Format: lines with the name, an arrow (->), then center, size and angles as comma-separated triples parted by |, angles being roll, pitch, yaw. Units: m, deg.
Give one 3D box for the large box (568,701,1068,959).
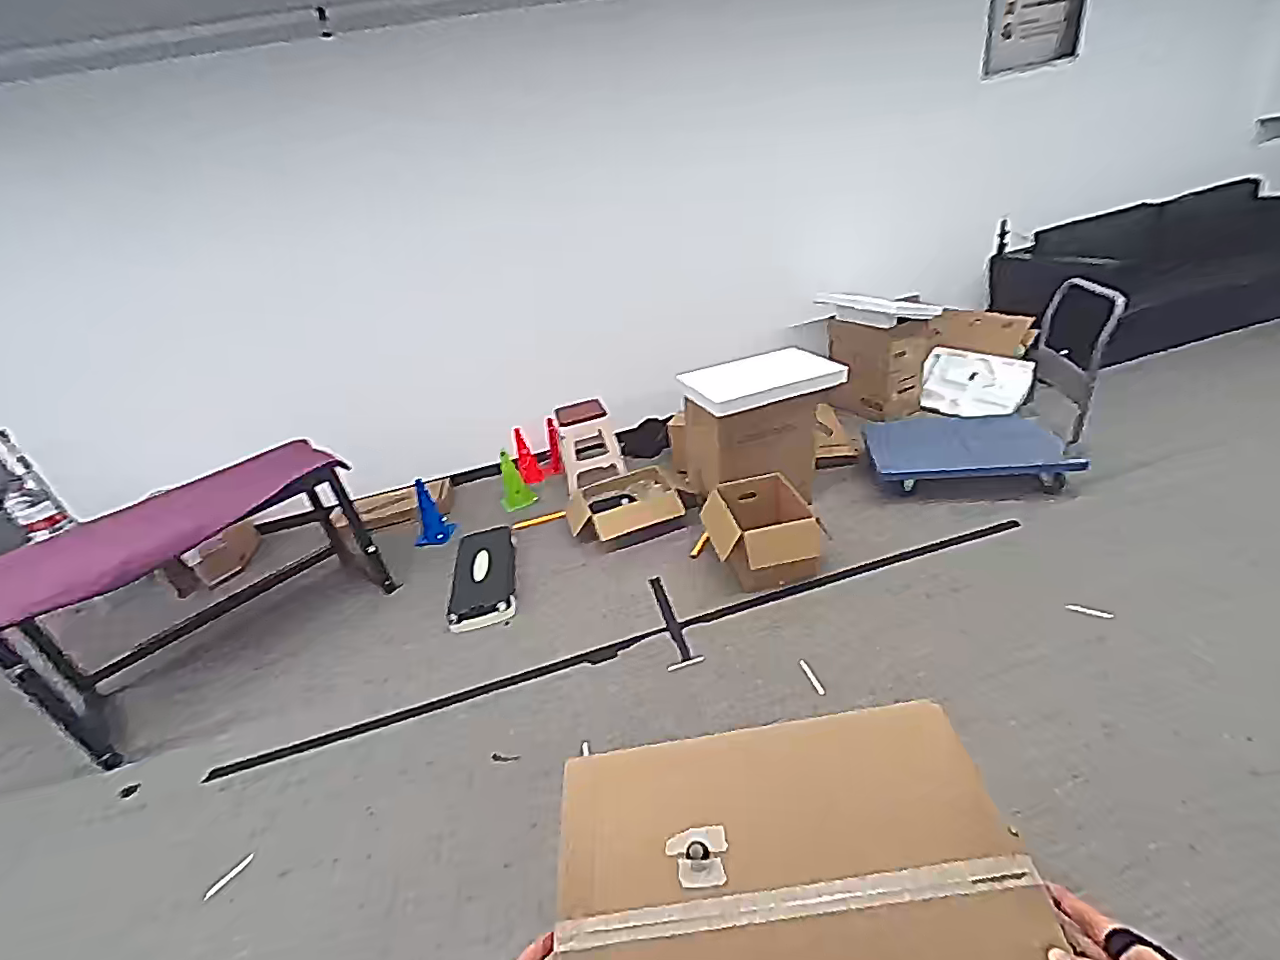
large box -> 0.164, 0.484, 0.561 | 0.408, 0.320, 0.320 | -13, 35, 6
